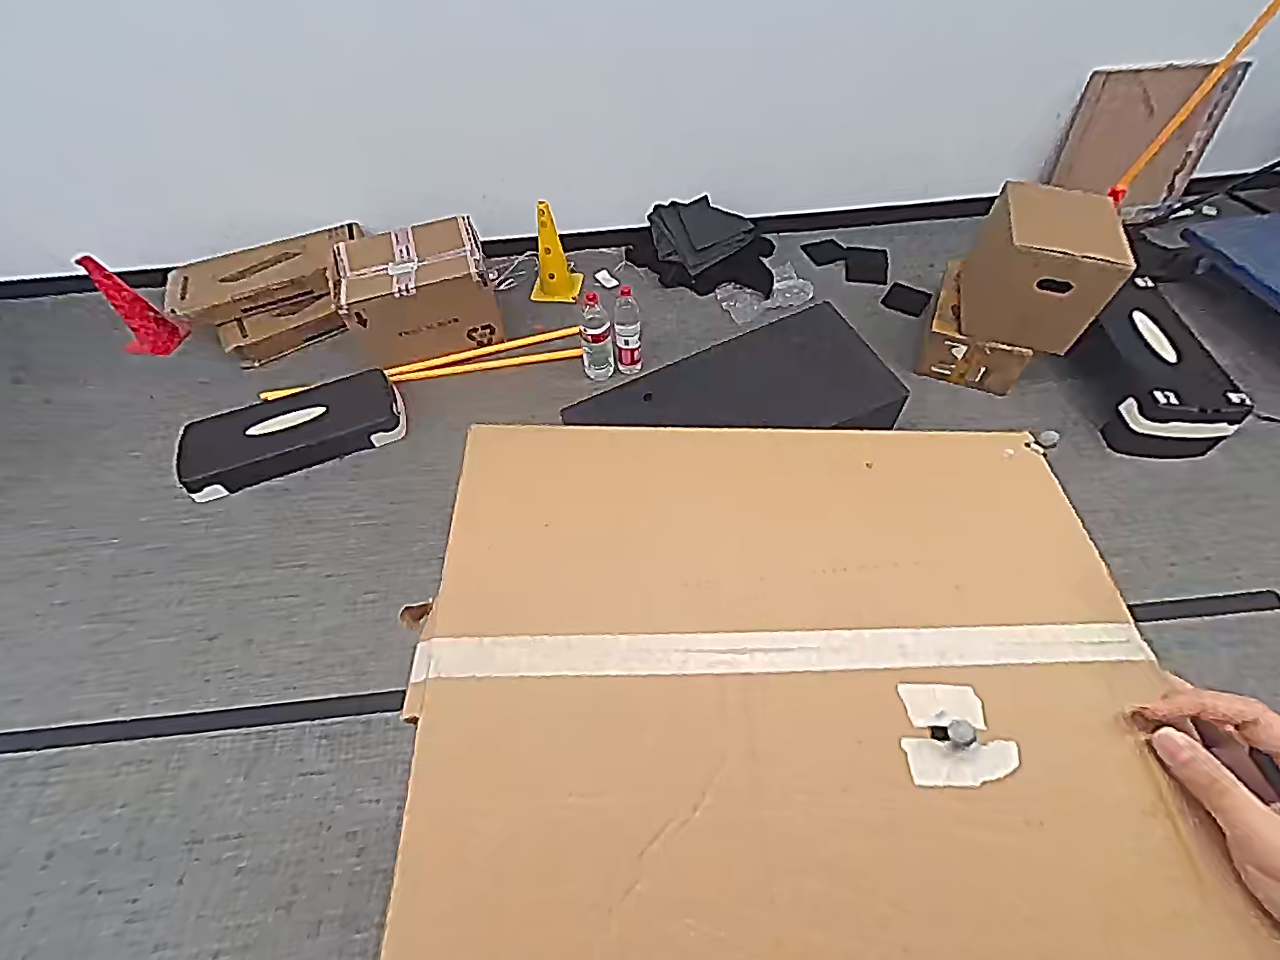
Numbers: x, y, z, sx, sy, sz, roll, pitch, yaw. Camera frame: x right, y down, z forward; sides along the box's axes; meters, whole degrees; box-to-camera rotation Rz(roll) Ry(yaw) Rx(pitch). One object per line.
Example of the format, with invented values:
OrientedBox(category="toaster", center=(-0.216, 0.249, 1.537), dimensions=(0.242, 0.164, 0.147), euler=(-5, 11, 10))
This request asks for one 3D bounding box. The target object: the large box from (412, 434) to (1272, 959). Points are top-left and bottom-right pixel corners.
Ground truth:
OrientedBox(category="large box", center=(0.080, 0.178, 0.437), dimensions=(0.408, 0.320, 0.320), euler=(1, 58, -5))
